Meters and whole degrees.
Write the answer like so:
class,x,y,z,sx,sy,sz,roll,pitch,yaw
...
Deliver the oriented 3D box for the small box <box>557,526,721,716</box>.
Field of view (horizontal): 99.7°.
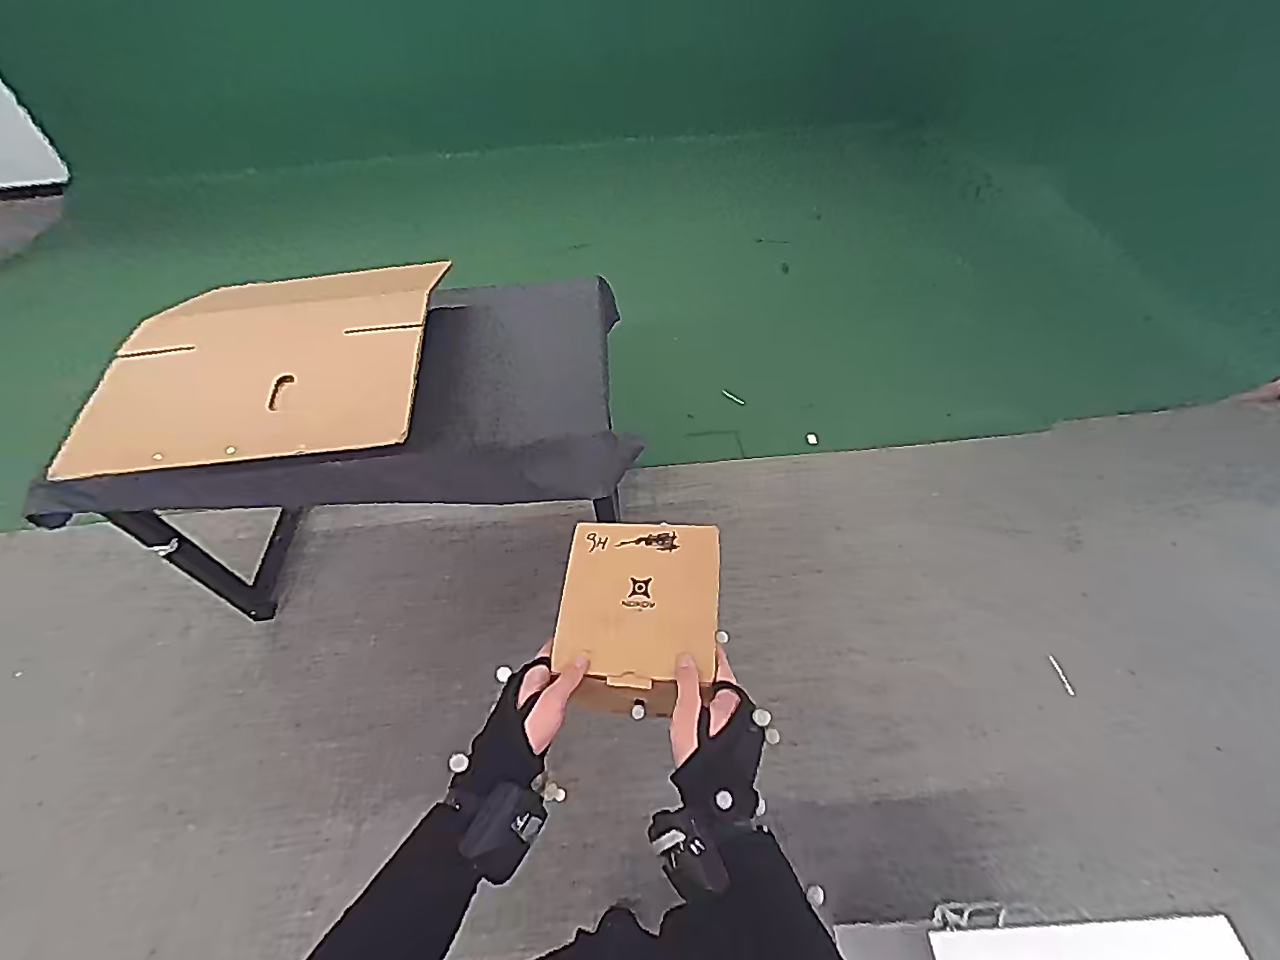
class,x,y,z,sx,sy,sz,roll,pitch,yaw
small box,0.011,0.172,0.642,0.168,0.176,0.179,-2,54,7
